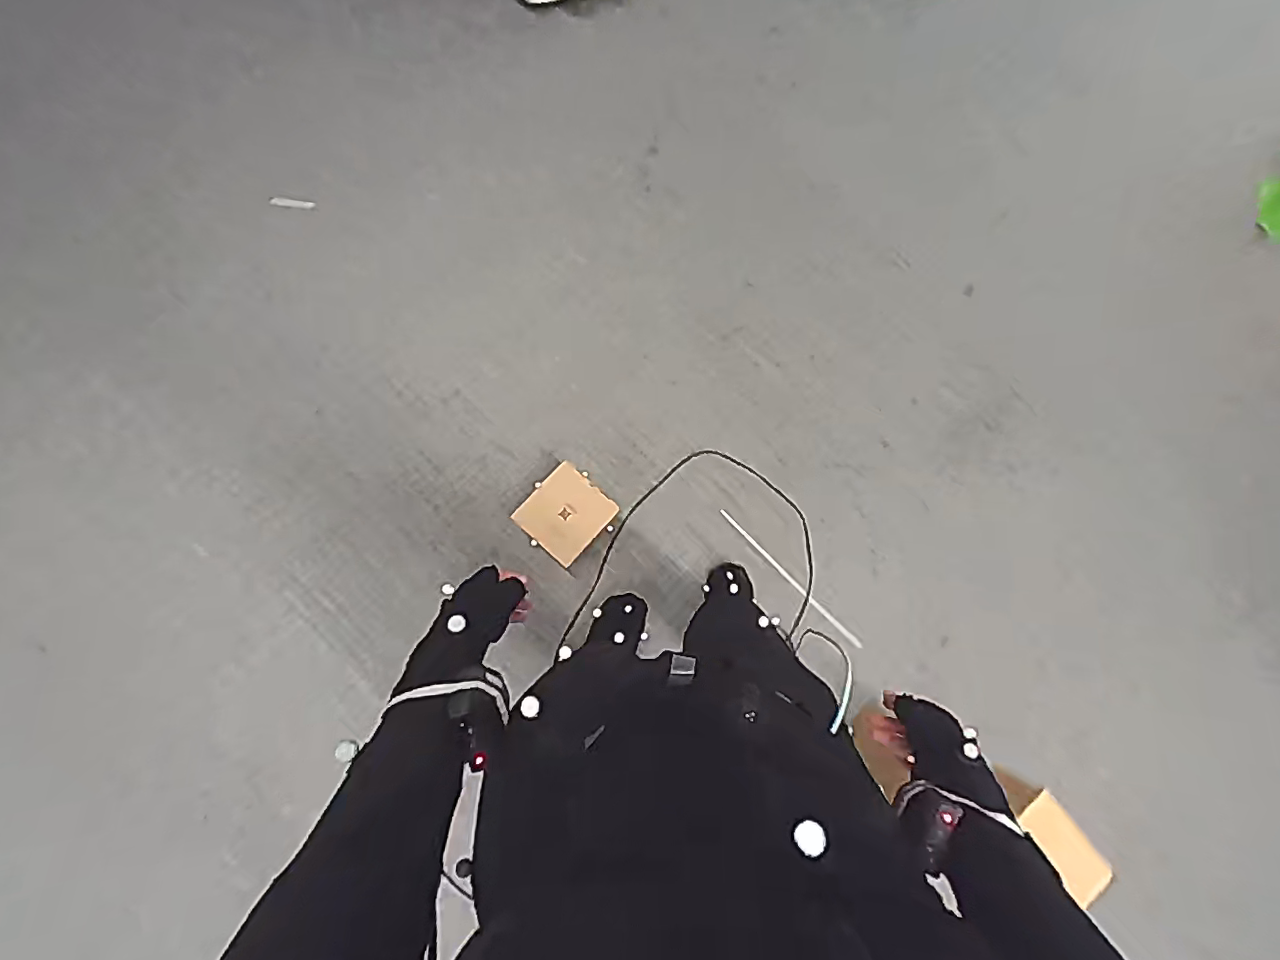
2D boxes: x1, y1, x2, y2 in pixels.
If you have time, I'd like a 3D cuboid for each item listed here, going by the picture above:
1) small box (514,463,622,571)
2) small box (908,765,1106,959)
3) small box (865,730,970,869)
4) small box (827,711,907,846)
[{"bbox_3d":[-0.163,0.087,1.239,0.168,0.176,0.179,43,81,2],"label":"small box"},{"bbox_3d":[0.595,0.619,0.901,0.179,0.176,0.168,-37,87,-8],"label":"small box"},{"bbox_3d":[0.575,0.634,1.061,0.179,0.176,0.168,-42,88,-10],"label":"small box"},{"bbox_3d":[0.552,0.661,1.222,0.179,0.176,0.168,-43,88,-9],"label":"small box"}]
